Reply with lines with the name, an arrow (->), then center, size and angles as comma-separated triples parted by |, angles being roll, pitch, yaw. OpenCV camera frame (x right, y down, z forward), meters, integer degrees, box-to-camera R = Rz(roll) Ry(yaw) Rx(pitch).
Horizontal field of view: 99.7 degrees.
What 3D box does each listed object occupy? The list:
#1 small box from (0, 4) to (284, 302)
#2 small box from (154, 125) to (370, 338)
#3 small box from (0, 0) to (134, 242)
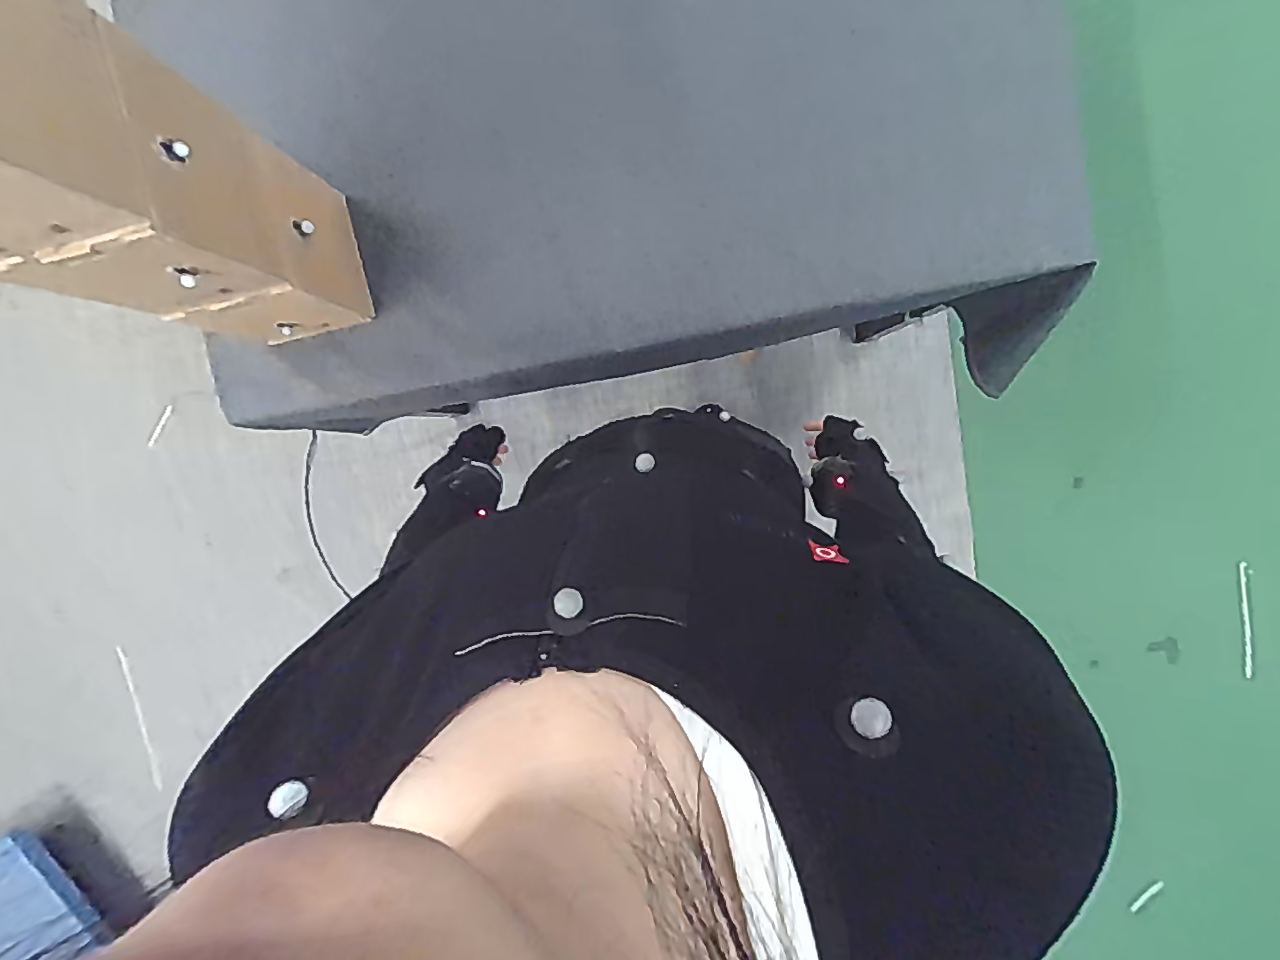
small box -> -0.481, -0.279, 0.512 | 0.168, 0.176, 0.179 | -11, 95, 4
small box -> -0.473, -0.292, 0.674 | 0.168, 0.176, 0.179 | -12, 95, 5
small box -> -0.492, -0.270, 0.348 | 0.168, 0.176, 0.179 | -13, 95, 3
